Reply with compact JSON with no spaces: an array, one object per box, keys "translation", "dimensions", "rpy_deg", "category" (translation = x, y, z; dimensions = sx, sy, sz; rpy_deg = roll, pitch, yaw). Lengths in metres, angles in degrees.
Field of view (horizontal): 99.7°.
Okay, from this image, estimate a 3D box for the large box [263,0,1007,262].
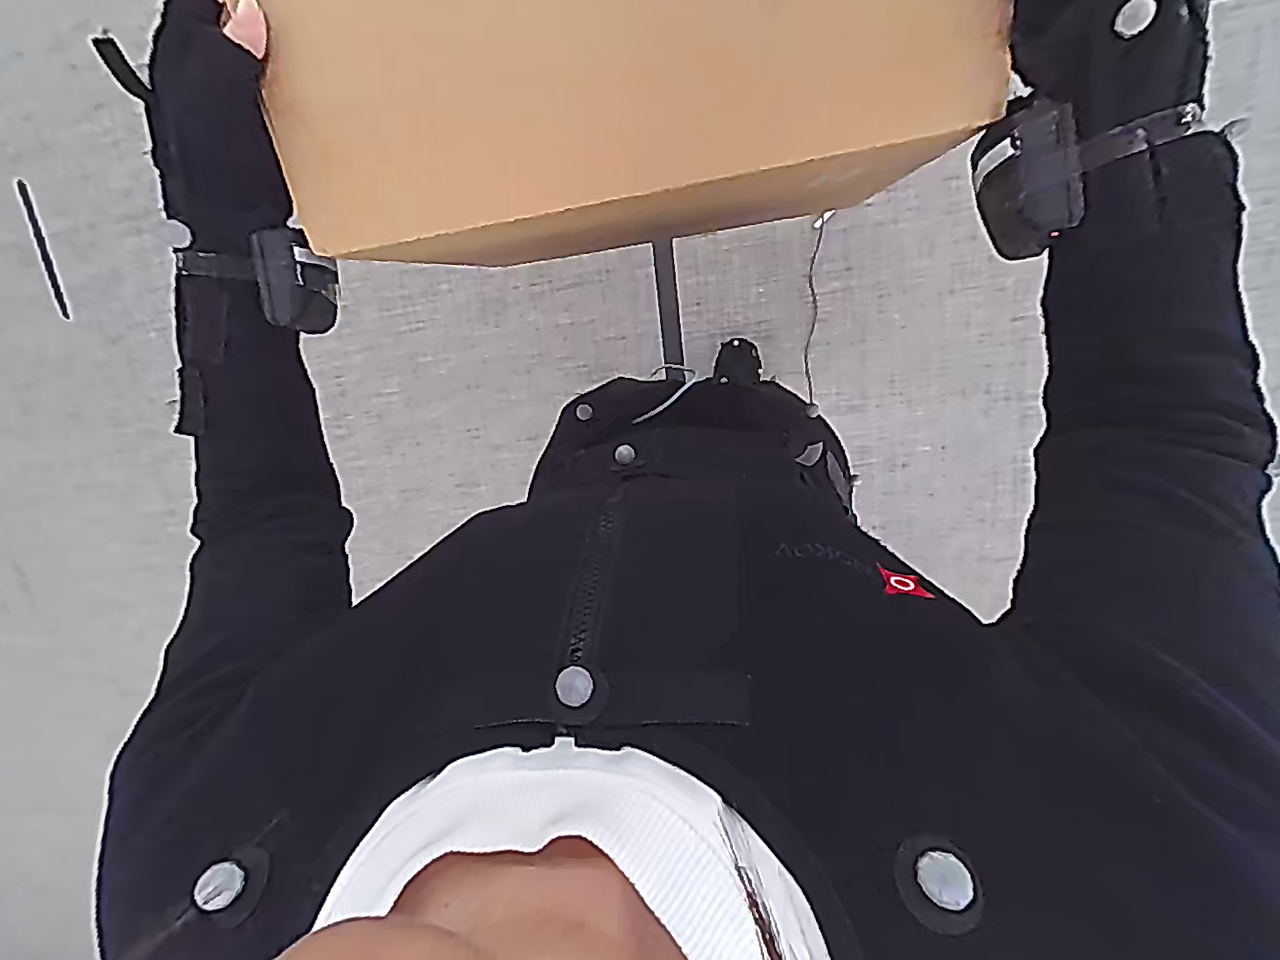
[{"translation":[-0.009,-0.370,0.412],"dimensions":[0.408,0.320,0.320],"rpy_deg":[-6,110,10],"category":"large box"}]
